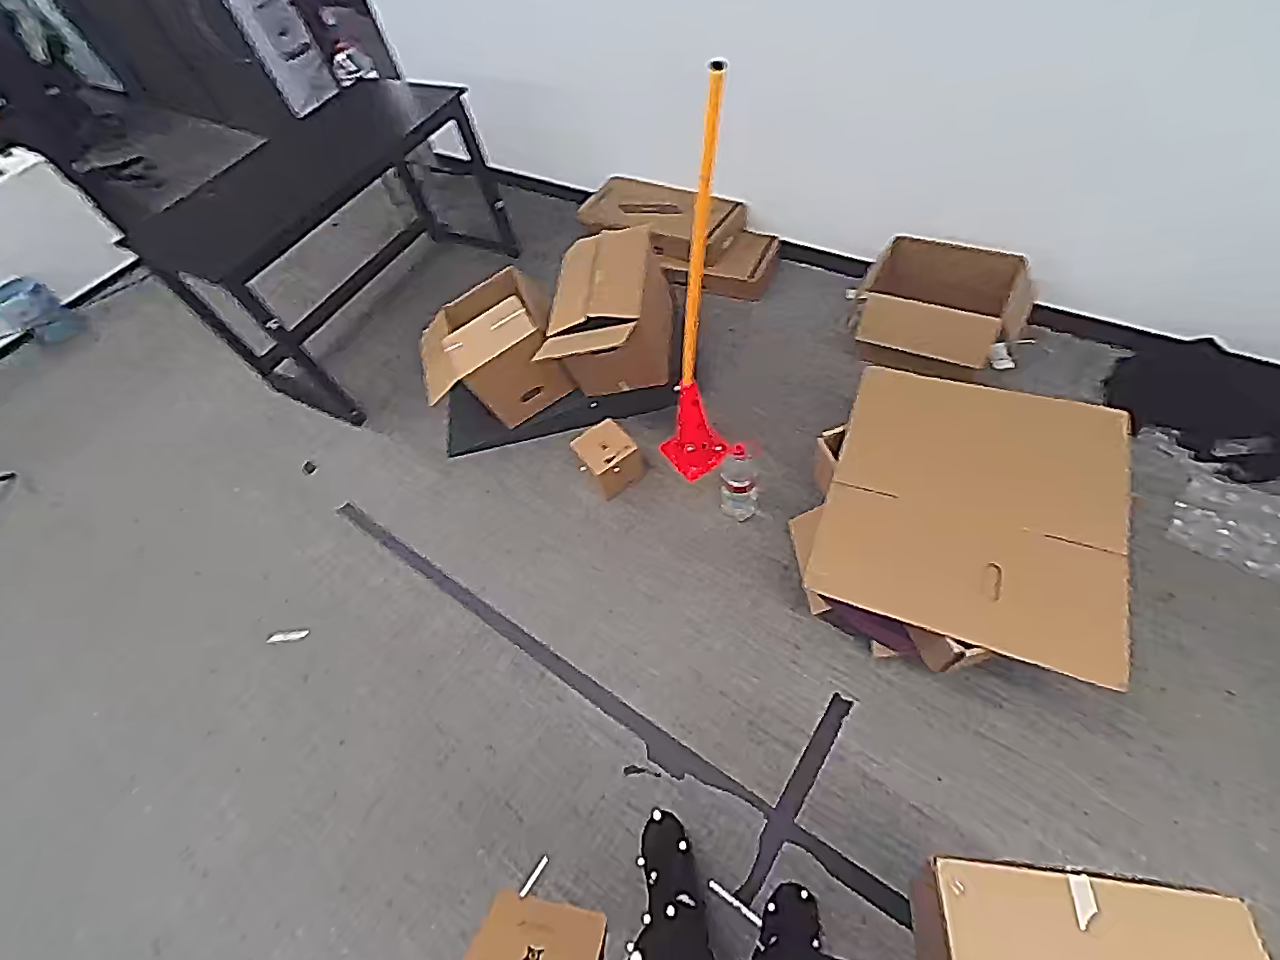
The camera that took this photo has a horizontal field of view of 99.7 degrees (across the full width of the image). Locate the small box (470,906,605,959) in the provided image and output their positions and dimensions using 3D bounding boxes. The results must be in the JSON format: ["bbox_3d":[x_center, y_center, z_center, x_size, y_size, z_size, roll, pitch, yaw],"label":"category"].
[{"bbox_3d":[-0.146,0.707,0.689,0.168,0.179,0.176,7,92,7],"label":"small box"}]
